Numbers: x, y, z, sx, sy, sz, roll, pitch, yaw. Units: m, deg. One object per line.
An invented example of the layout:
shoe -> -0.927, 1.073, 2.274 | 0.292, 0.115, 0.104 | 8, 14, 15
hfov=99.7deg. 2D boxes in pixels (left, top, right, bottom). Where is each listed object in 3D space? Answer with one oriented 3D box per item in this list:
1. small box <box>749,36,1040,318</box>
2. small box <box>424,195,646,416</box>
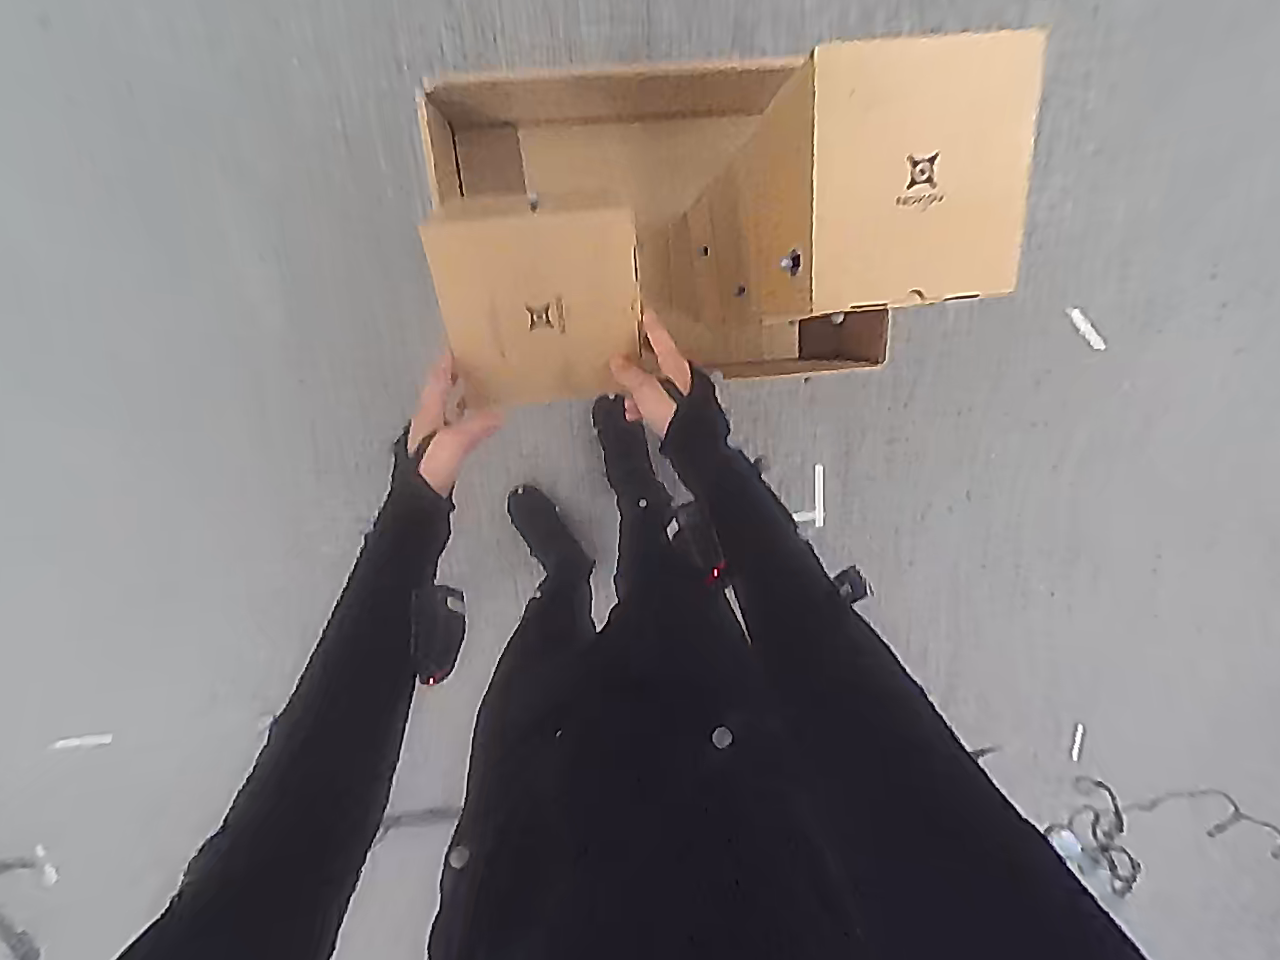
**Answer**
small box -> 0.197, -0.239, 0.469 | 0.168, 0.176, 0.179 | -6, 107, -3
small box -> -0.096, -0.182, 0.544 | 0.179, 0.176, 0.168 | -7, 124, -5
